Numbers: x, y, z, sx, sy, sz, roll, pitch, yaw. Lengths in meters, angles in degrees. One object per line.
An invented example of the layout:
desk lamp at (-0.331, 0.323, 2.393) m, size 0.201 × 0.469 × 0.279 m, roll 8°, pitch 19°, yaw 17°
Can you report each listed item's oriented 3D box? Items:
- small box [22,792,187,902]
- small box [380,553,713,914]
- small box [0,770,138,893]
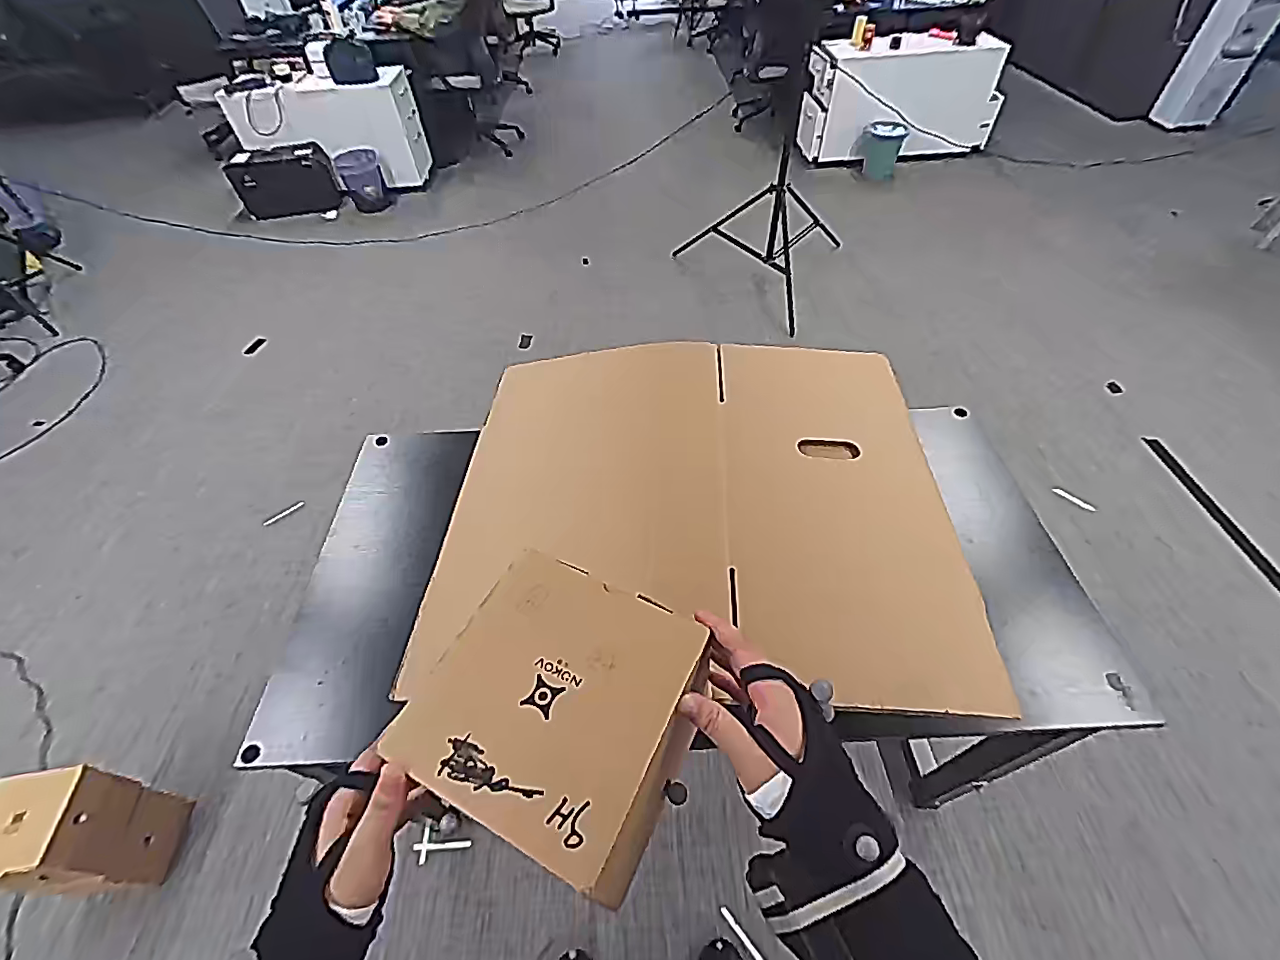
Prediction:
small box at (-1.171, 0.819, 1.205) m, size 0.168 × 0.176 × 0.179 m, roll -6°, pitch 50°, yaw -2°
small box at (-0.054, 0.195, 0.425) m, size 0.168 × 0.176 × 0.179 m, roll 19°, pitch 52°, yaw 22°
small box at (-1.179, 0.709, 1.085) m, size 0.168 × 0.176 × 0.179 m, roll -8°, pitch 49°, yaw -5°
